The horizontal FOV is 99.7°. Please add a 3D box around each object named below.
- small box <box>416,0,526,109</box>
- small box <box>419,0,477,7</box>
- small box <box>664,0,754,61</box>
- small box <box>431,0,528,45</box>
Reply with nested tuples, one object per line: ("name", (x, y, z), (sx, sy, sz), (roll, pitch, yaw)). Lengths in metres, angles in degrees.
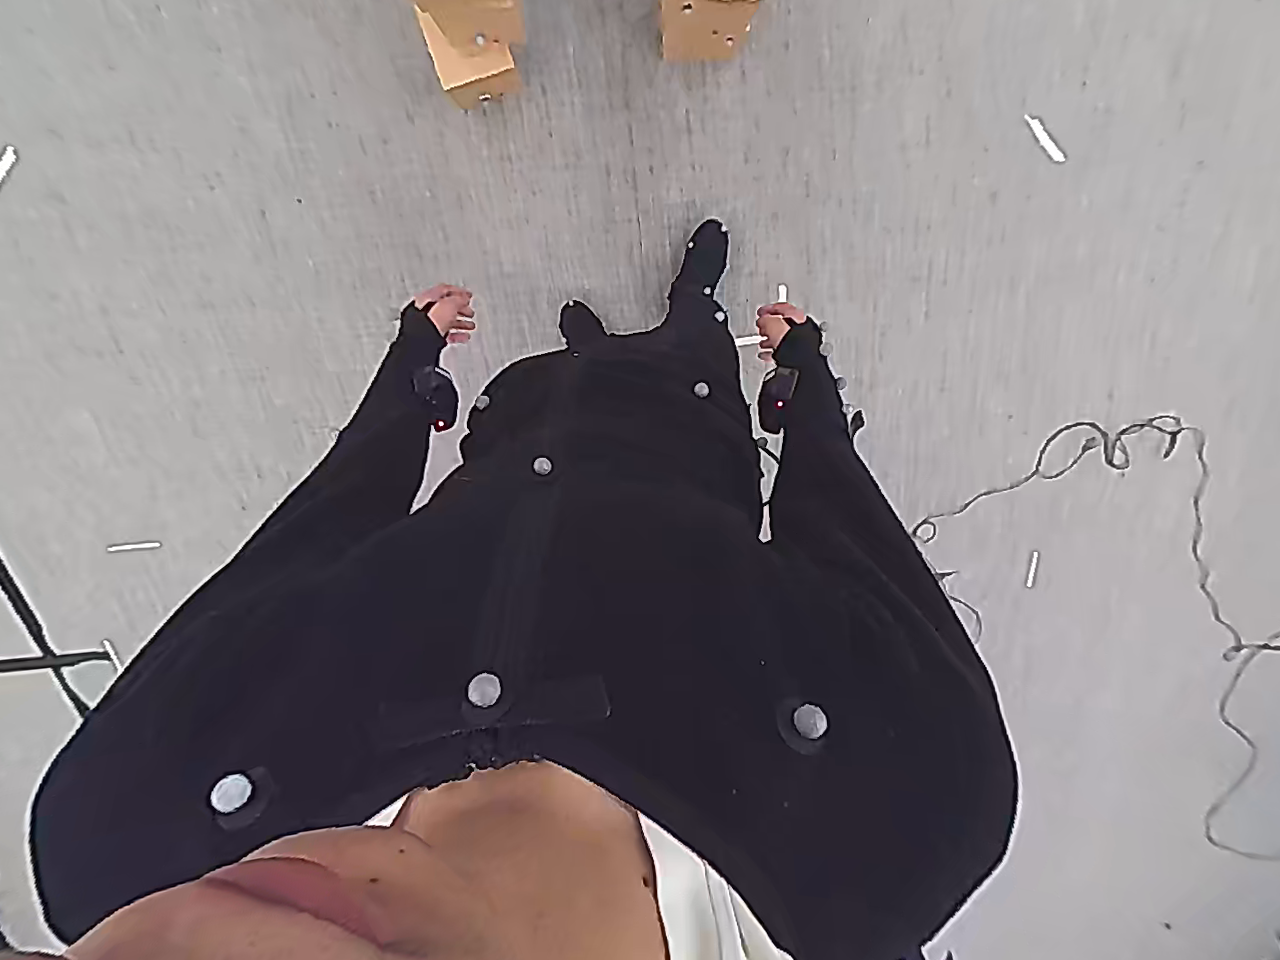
("small box", (-0.366, -0.963, 1.198), (0.168, 0.176, 0.179), (-15, 111, 3))
("small box", (-0.318, -0.908, 0.871), (0.179, 0.176, 0.168), (-9, 110, 1))
("small box", (0.146, -1.055, 1.193), (0.179, 0.176, 0.168), (-5, 111, -2))
("small box", (-0.311, -0.966, 1.025), (0.168, 0.176, 0.179), (-2, 111, -1))
